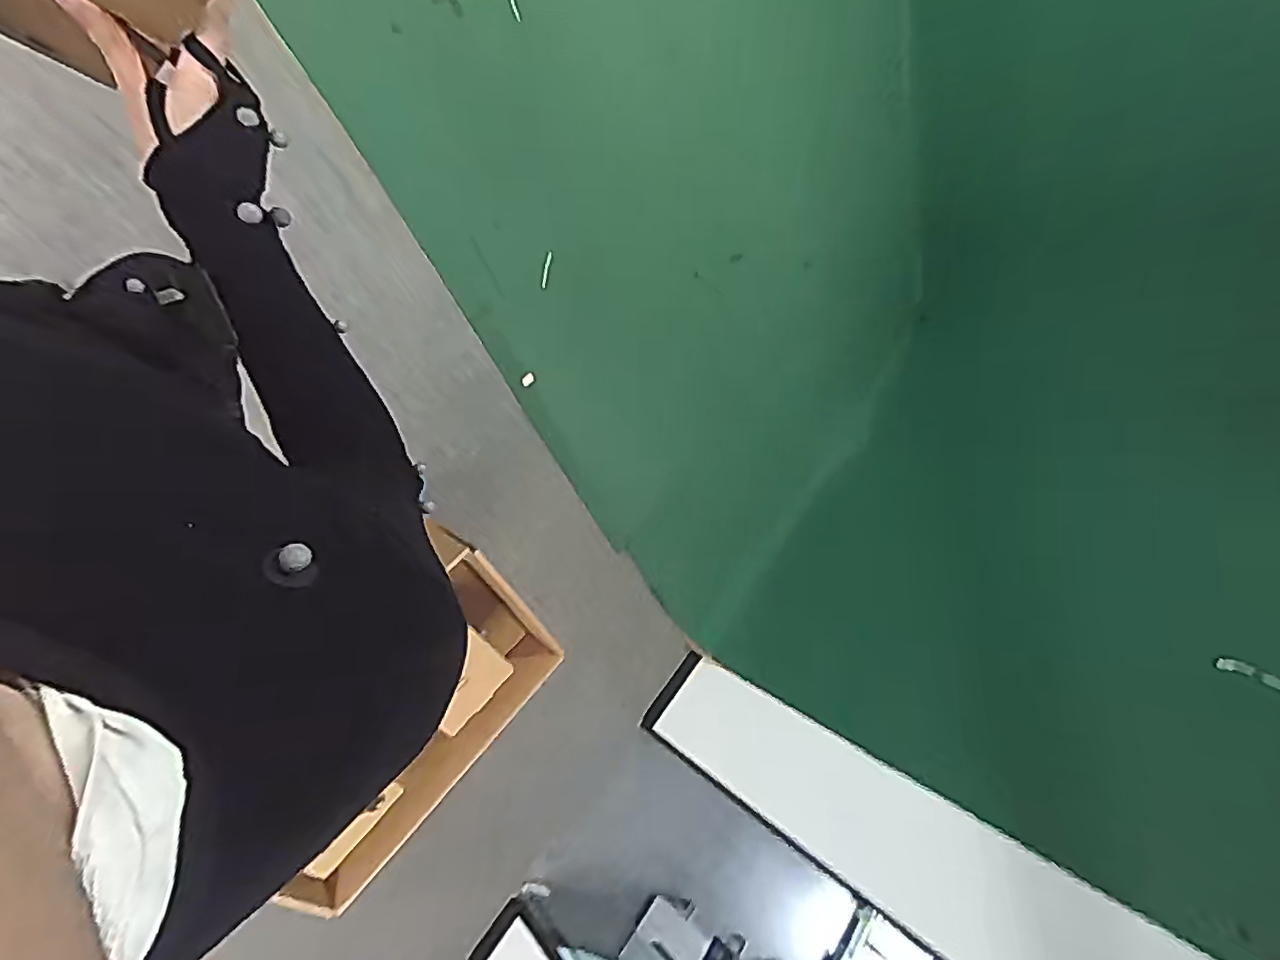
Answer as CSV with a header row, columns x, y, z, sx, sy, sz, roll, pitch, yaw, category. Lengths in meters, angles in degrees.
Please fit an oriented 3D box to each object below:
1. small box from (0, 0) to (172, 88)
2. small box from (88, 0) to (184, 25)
x,y,z,sx,sy,sz,roll,pitch,yaw,category
-0.413,-0.407,0.353,0.168,0.176,0.179,10,98,-50,small box
-0.297,-0.362,0.243,0.179,0.176,0.168,9,98,-49,small box
